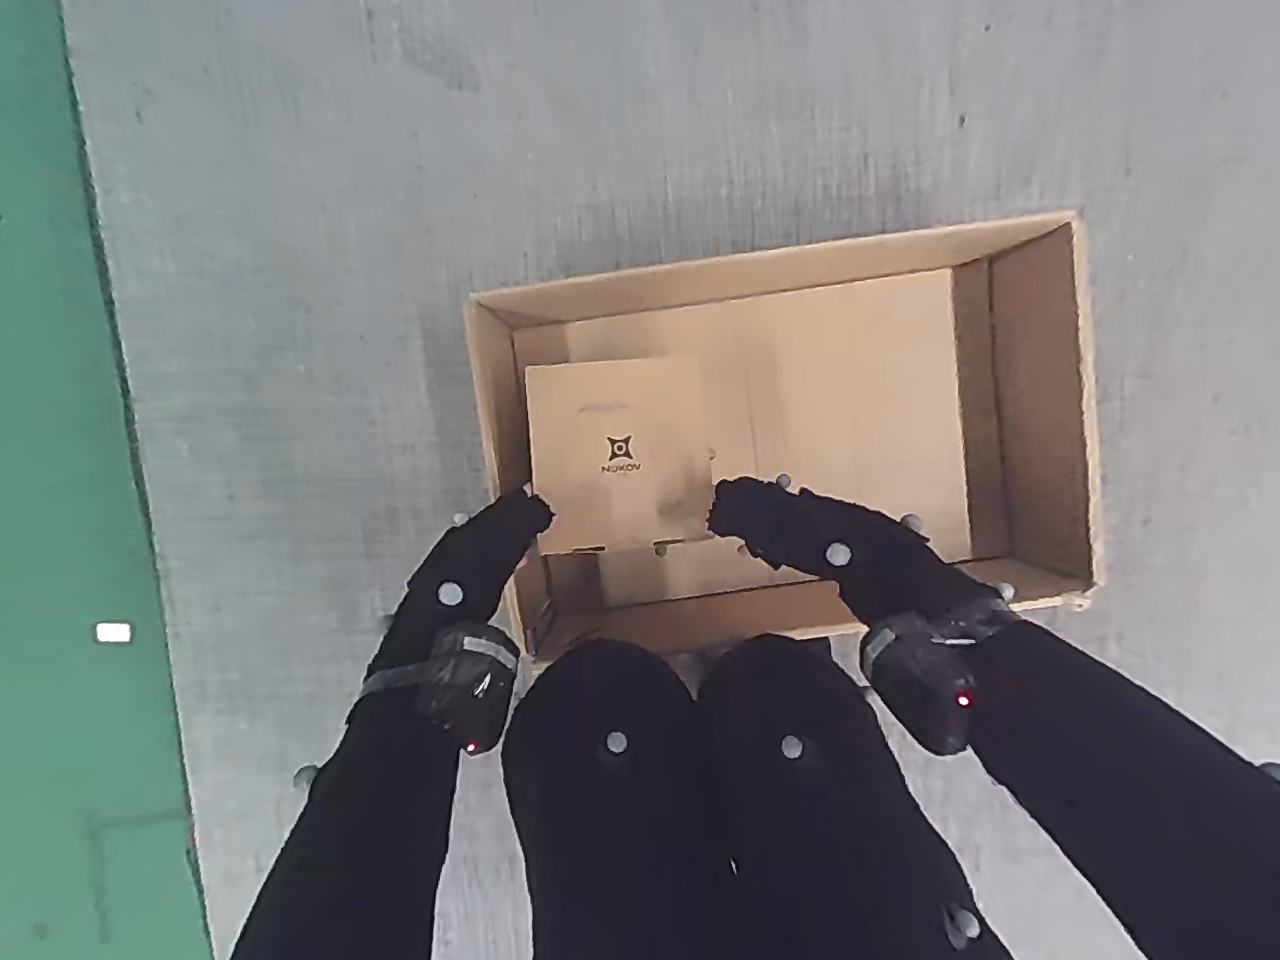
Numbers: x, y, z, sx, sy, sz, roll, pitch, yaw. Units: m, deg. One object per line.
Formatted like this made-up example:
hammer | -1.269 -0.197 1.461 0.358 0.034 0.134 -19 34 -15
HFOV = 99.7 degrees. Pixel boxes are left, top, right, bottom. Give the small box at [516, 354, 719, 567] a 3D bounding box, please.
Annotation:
small box | -0.023 -0.013 0.565 0.168 0.176 0.179 -9 85 -3
